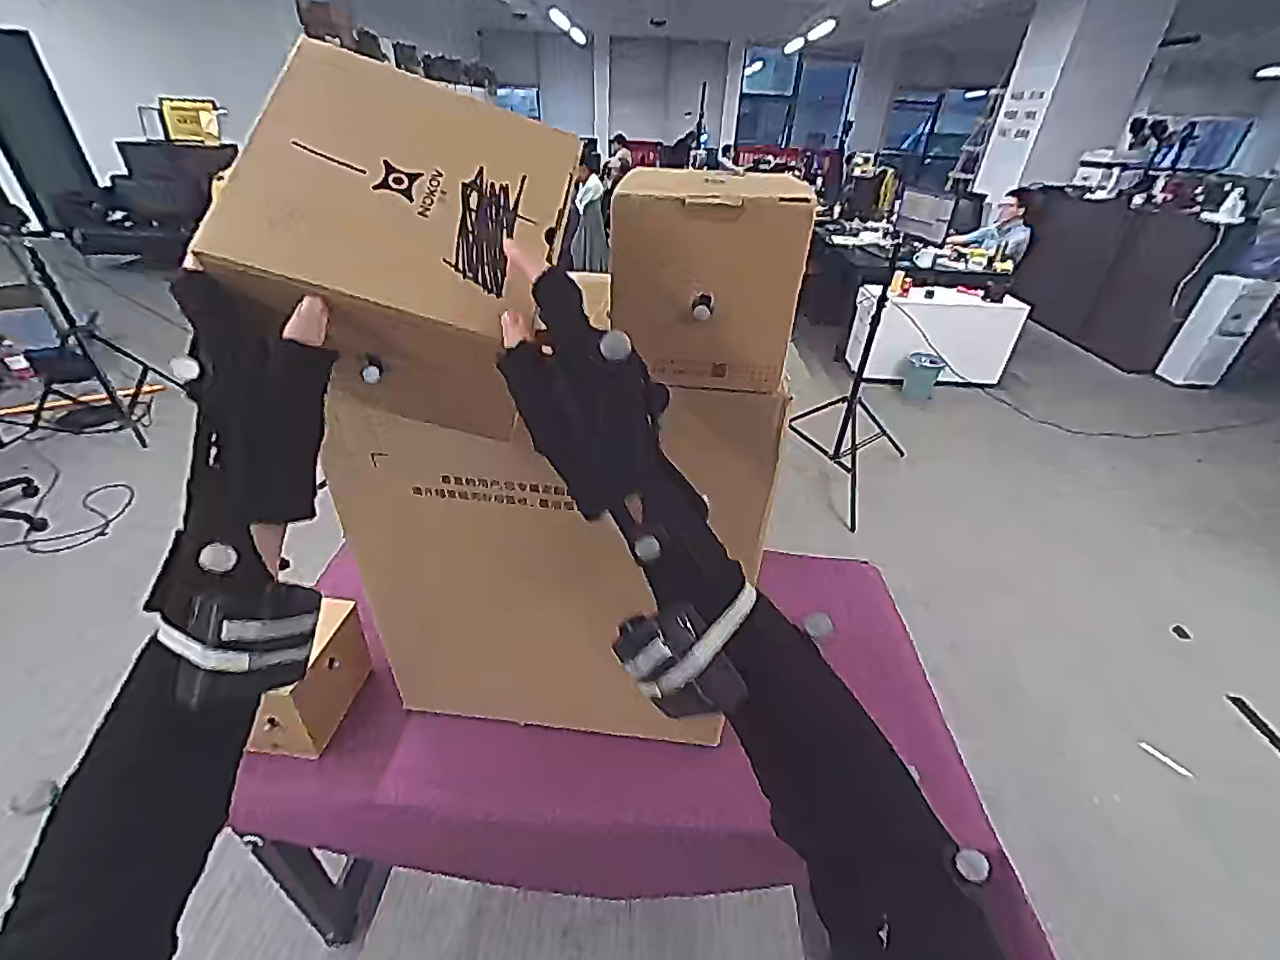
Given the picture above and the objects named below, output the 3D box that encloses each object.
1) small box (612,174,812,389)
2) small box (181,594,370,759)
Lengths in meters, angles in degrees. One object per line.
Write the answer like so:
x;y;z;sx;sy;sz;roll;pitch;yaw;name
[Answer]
0.066;-0.204;0.549;0.168;0.176;0.179;4;36;4;small box
-0.553;0.310;0.855;0.168;0.176;0.179;7;31;1;small box
